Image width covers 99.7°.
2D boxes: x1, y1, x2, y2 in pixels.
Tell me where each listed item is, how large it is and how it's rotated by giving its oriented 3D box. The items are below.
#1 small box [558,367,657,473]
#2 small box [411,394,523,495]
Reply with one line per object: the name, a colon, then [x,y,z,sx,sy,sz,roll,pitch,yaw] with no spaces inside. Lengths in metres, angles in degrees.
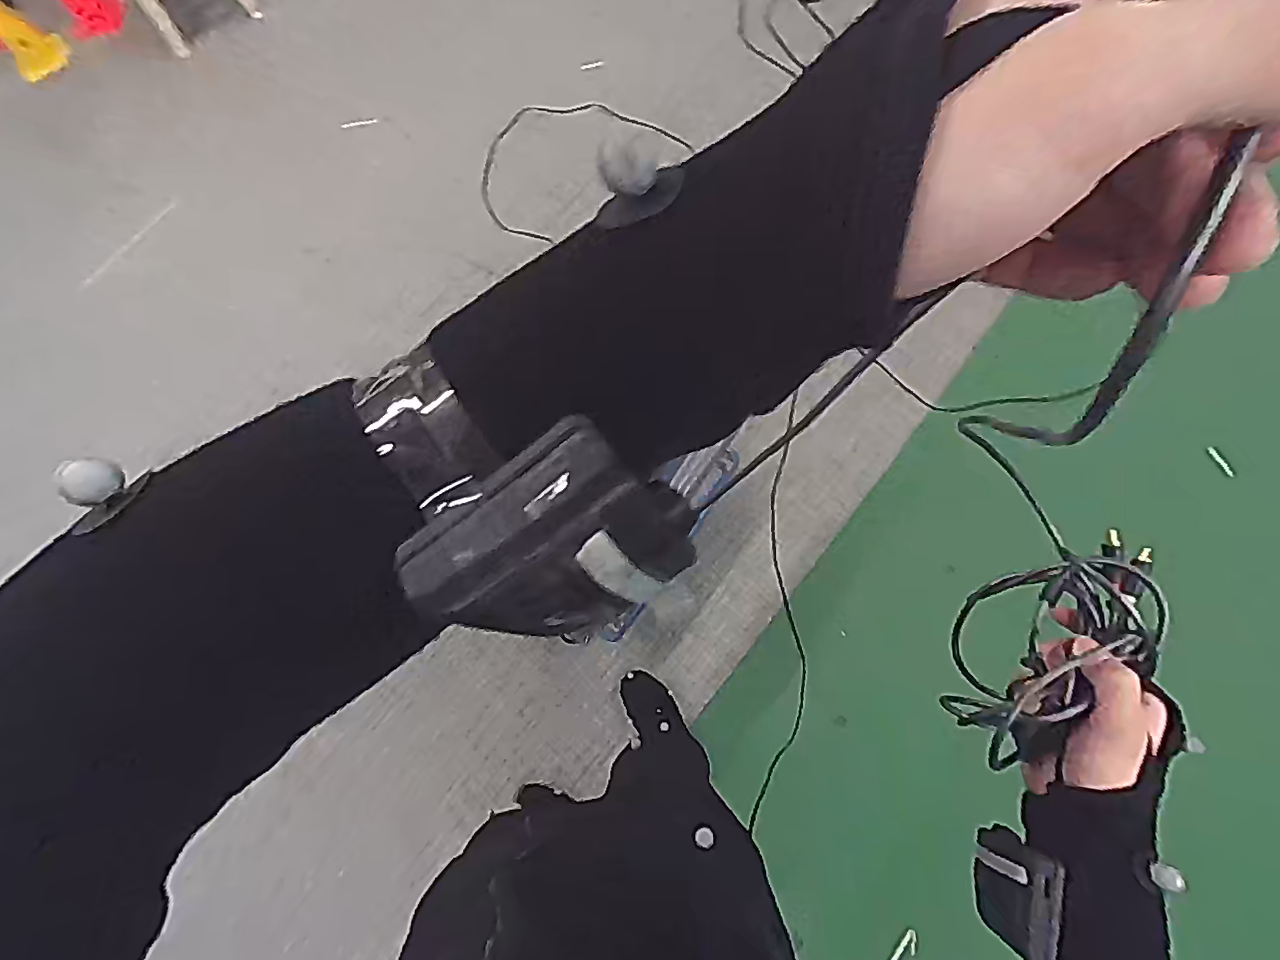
small box: [-0.073,-0.139,1.332,0.179,0.176,0.168,36,81,11]
small box: [-0.417,-0.078,1.339,0.179,0.176,0.168,30,79,11]
